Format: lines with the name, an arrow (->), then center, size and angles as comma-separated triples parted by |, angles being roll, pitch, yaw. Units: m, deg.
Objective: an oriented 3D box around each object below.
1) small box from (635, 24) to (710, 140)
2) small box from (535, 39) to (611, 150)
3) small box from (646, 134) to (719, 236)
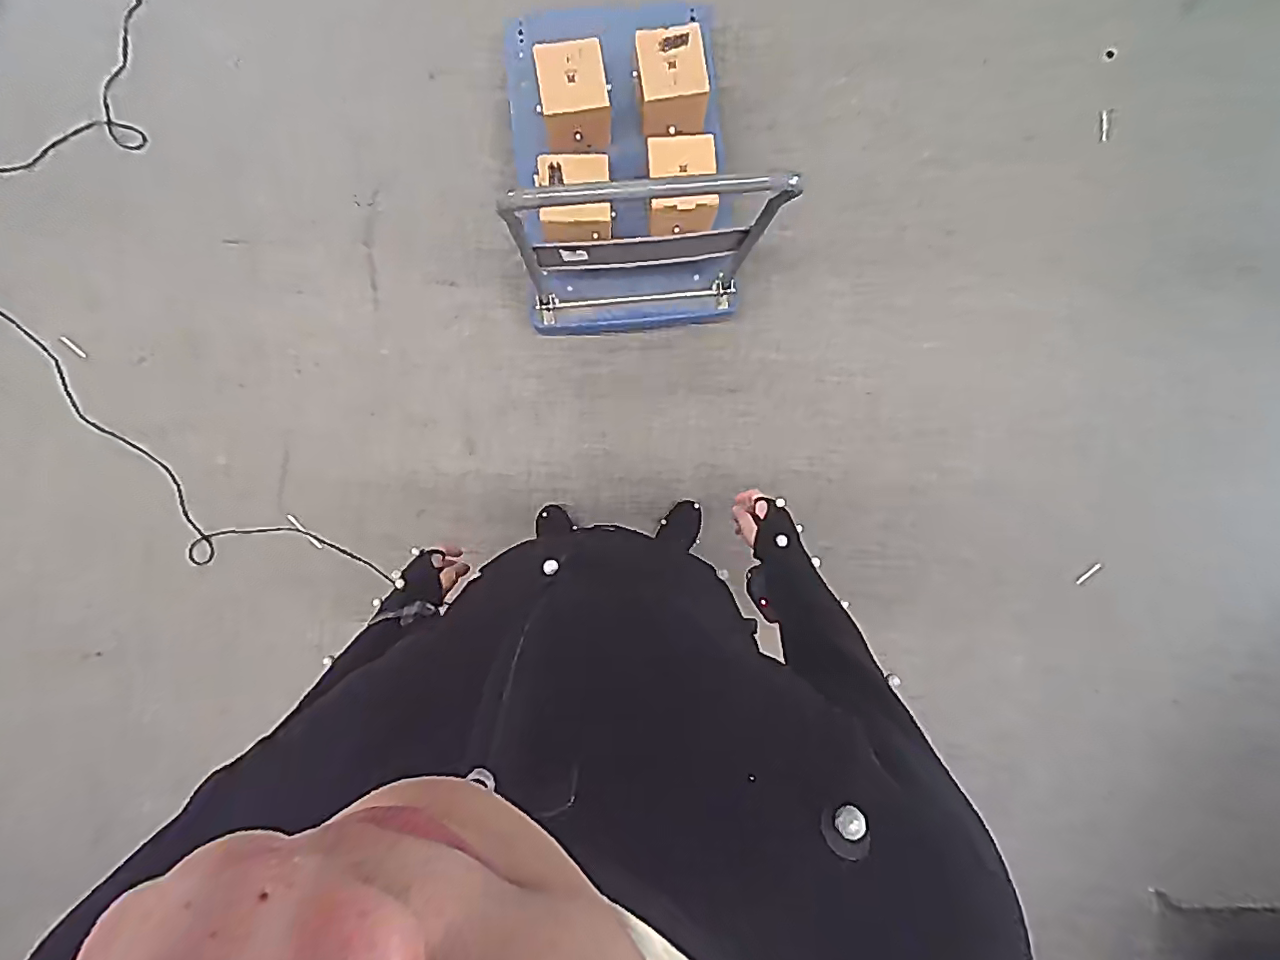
small box -> 0.079, -1.038, 1.421 | 0.168, 0.176, 0.179 | -9, 91, -1
small box -> -0.169, -0.995, 1.415 | 0.168, 0.176, 0.179 | -9, 90, -2
small box -> 0.107, -0.769, 1.421 | 0.168, 0.176, 0.179 | -5, 90, -2
